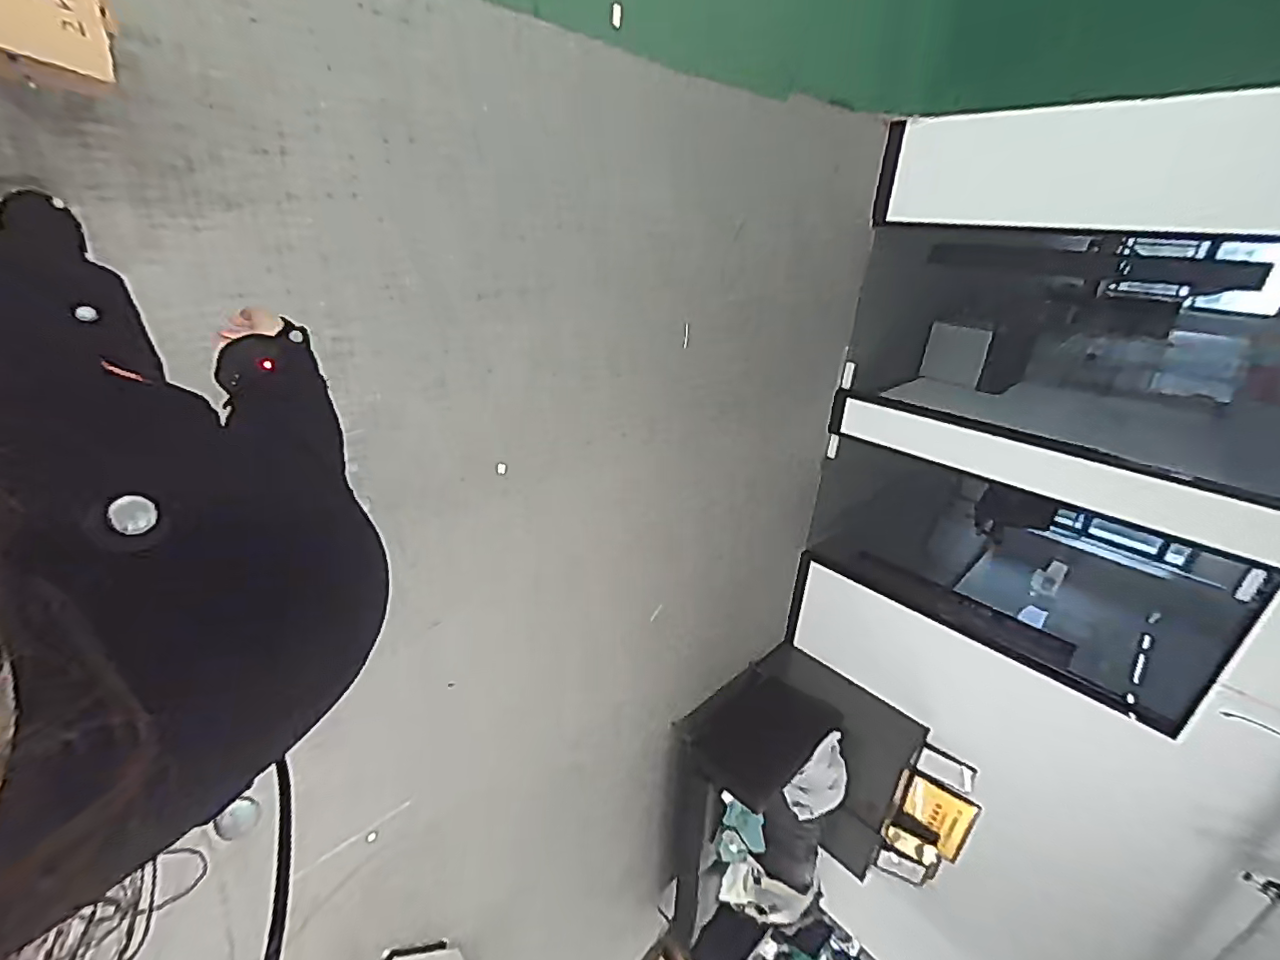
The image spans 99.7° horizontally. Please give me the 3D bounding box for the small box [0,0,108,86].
[{"bbox_3d":[-0.832,-0.649,0.712,0.179,0.176,0.168,-7,117,-45],"label":"small box"}]
